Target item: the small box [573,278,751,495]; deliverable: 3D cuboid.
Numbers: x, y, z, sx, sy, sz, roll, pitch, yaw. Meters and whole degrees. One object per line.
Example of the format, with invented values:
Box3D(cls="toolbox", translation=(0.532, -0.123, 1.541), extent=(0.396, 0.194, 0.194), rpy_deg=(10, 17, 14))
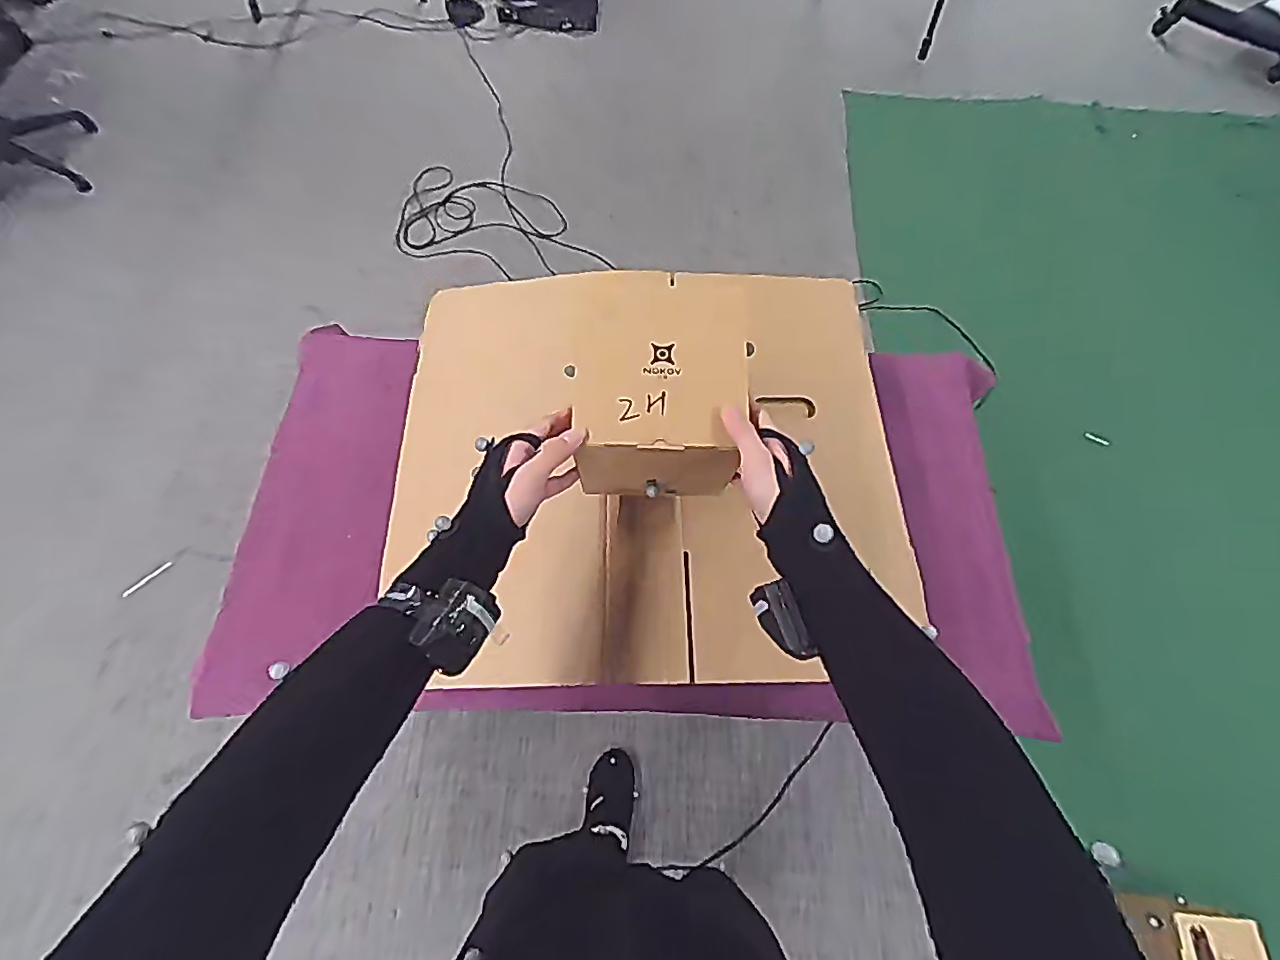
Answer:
Box3D(cls="small box", translation=(0.021, -0.092, 0.591), extent=(0.168, 0.176, 0.179), rpy_deg=(2, 74, 0))
